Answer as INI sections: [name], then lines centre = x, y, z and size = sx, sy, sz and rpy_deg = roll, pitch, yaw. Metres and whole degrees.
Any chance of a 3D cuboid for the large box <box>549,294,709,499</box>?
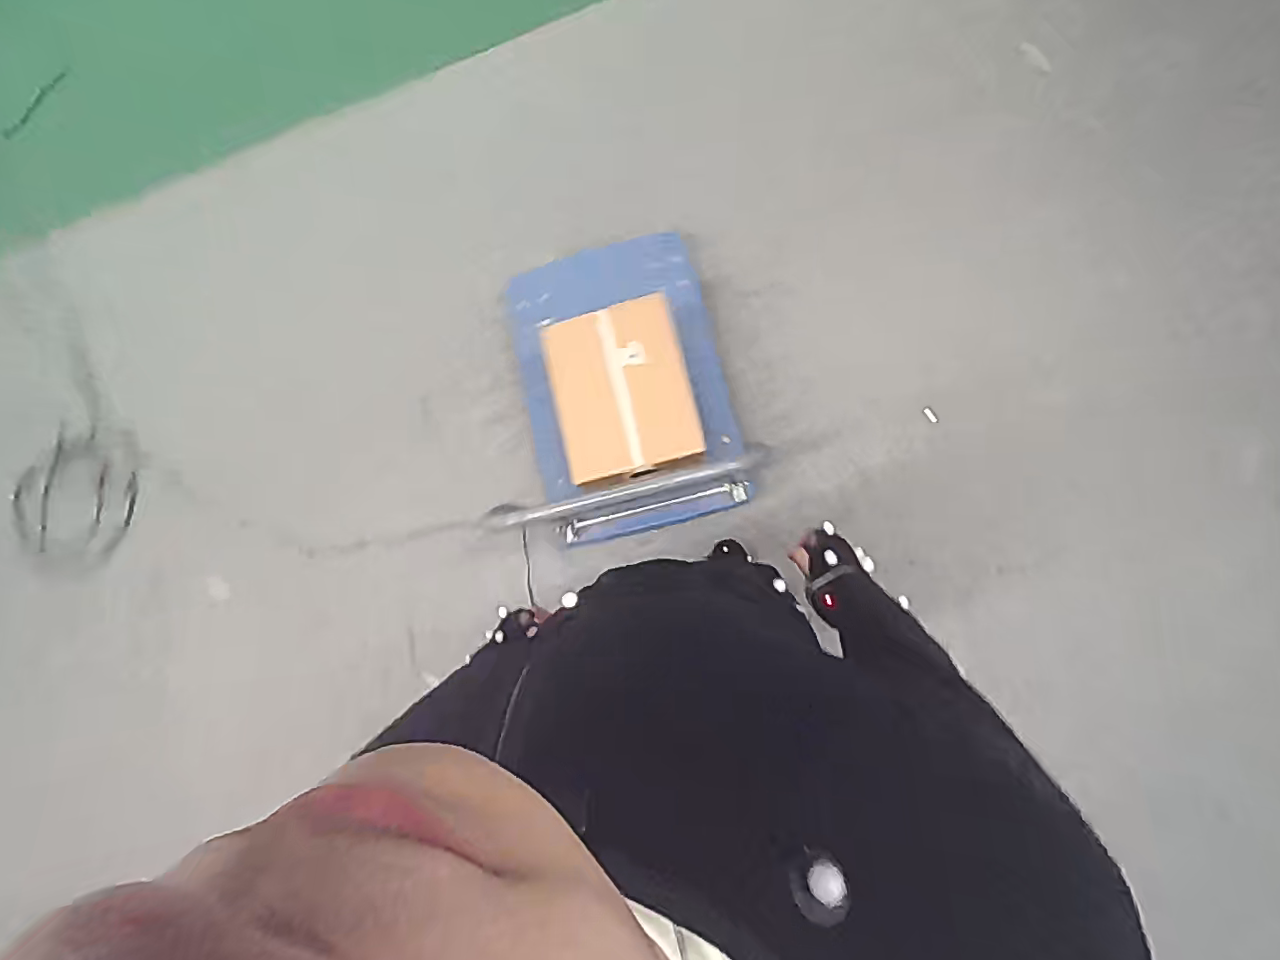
[large box]
centre = -0.014, -0.196, 1.412
size = 0.320, 0.320, 0.408
rpy_deg = -13, 78, 4
